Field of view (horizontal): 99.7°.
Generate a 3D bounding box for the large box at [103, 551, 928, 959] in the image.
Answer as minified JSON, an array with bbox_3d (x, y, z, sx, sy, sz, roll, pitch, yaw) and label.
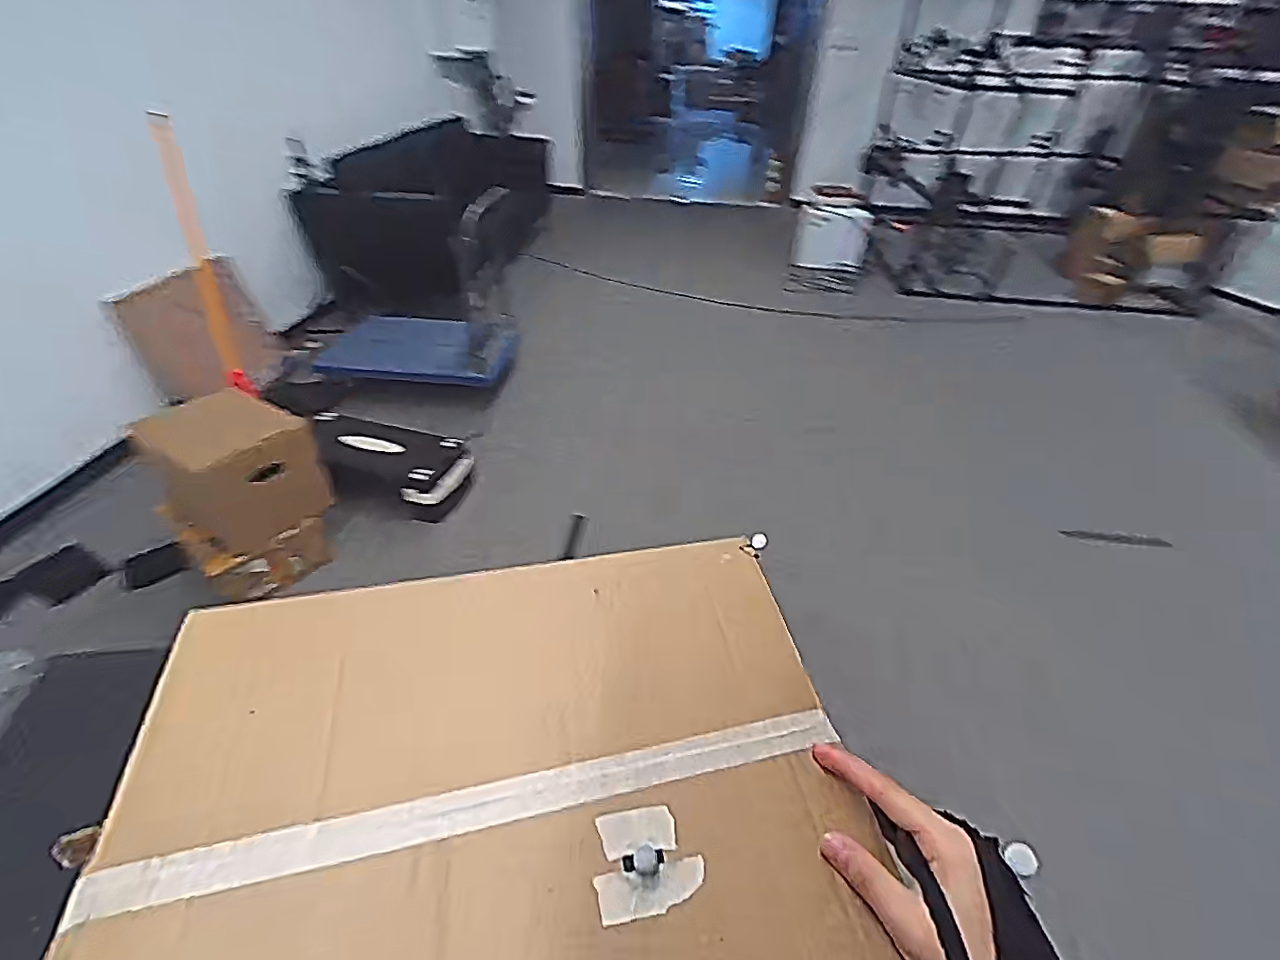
[{"bbox_3d":[-0.081,0.290,0.423,0.408,0.320,0.320,-5,49,-12],"label":"large box"}]
